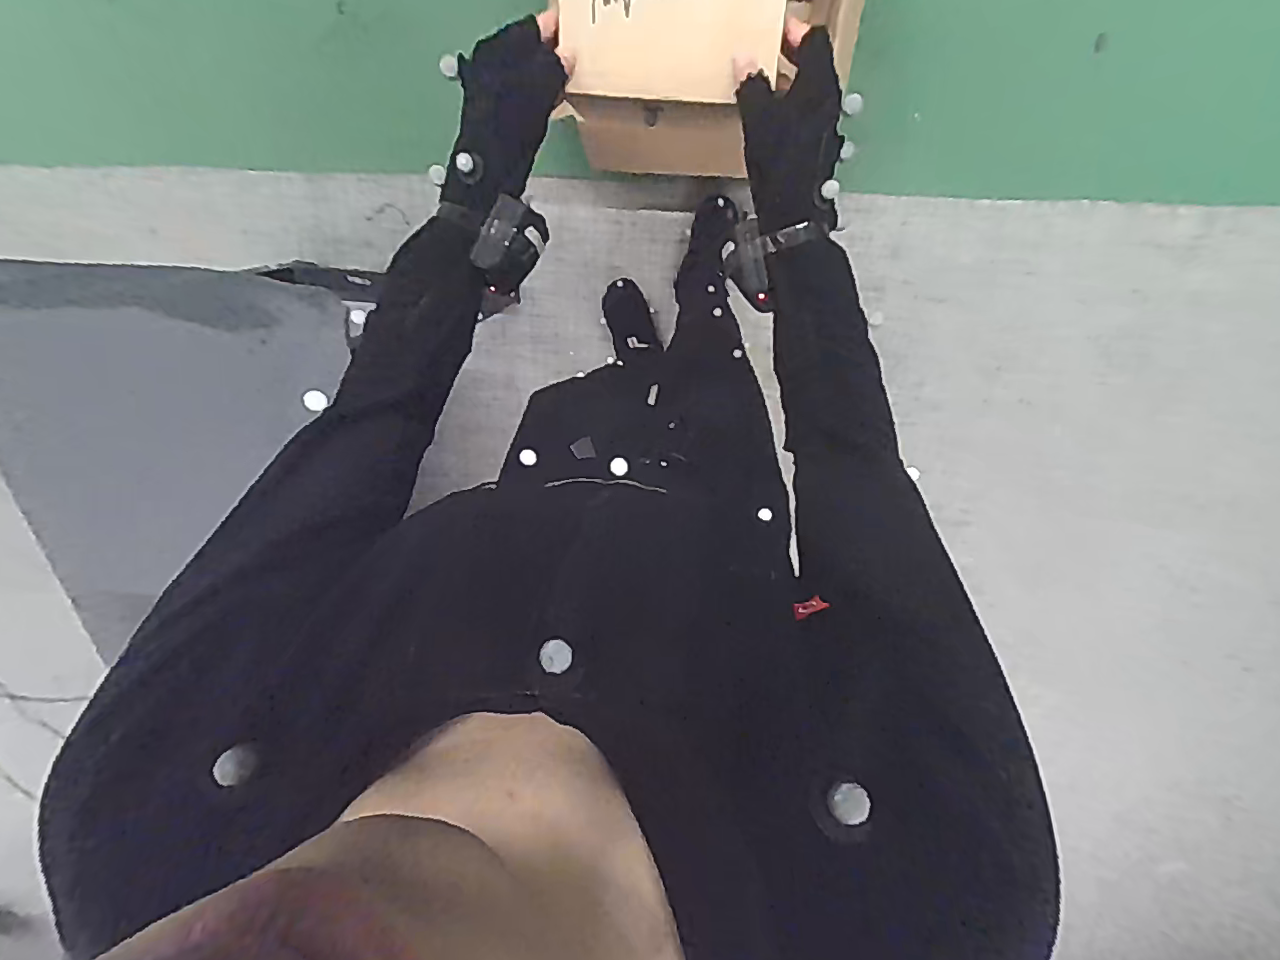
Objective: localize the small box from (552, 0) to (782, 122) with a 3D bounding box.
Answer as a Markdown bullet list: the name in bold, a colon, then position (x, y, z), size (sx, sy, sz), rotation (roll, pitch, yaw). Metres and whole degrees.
- **small box**: position (0.026, -0.419, 0.465), size (0.179, 0.176, 0.168), rotation (4, 117, 1)
